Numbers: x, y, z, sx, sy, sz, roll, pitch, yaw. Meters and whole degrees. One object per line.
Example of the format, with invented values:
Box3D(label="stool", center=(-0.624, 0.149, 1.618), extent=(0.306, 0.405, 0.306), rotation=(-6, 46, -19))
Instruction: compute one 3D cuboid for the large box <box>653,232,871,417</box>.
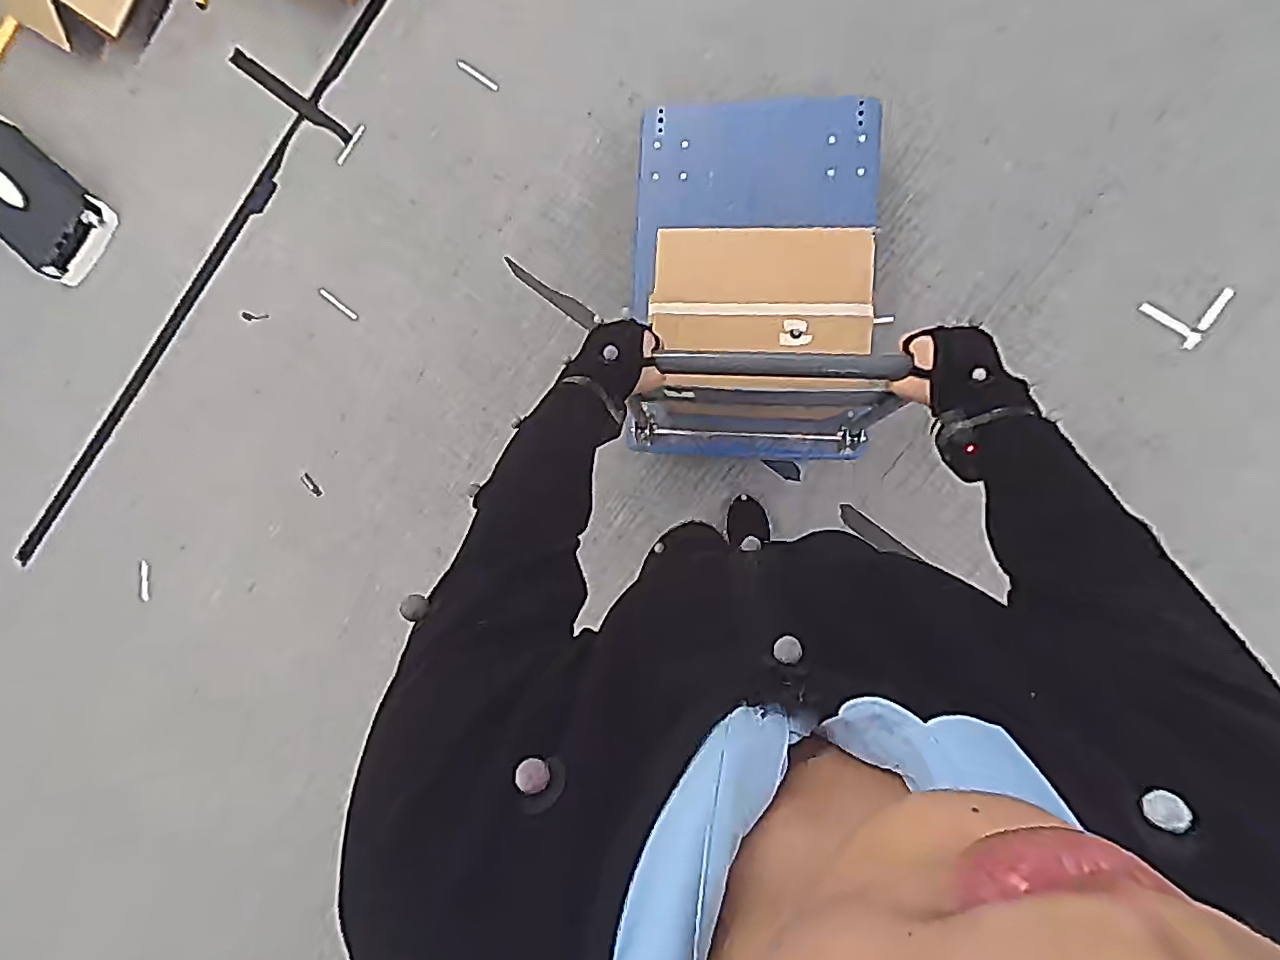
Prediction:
Box3D(label="large box", center=(0.239, -0.311, 1.167), extent=(0.408, 0.320, 0.320), rotation=(3, 90, 6))
